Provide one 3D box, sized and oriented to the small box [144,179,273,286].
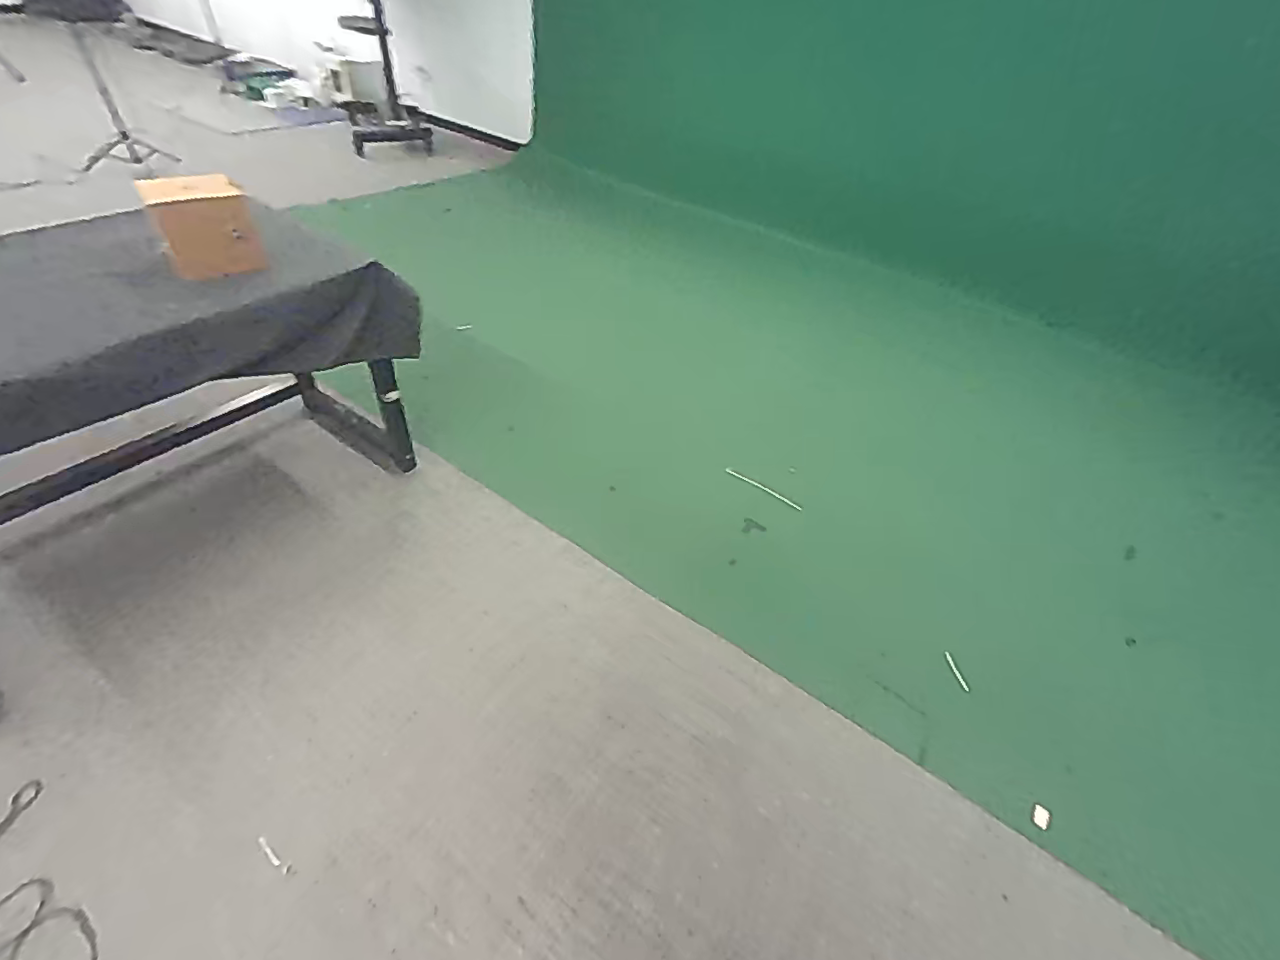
[{"bbox_3d":[-0.982,-0.571,1.247,0.179,0.176,0.168,-28,54,-31],"label":"small box"}]
